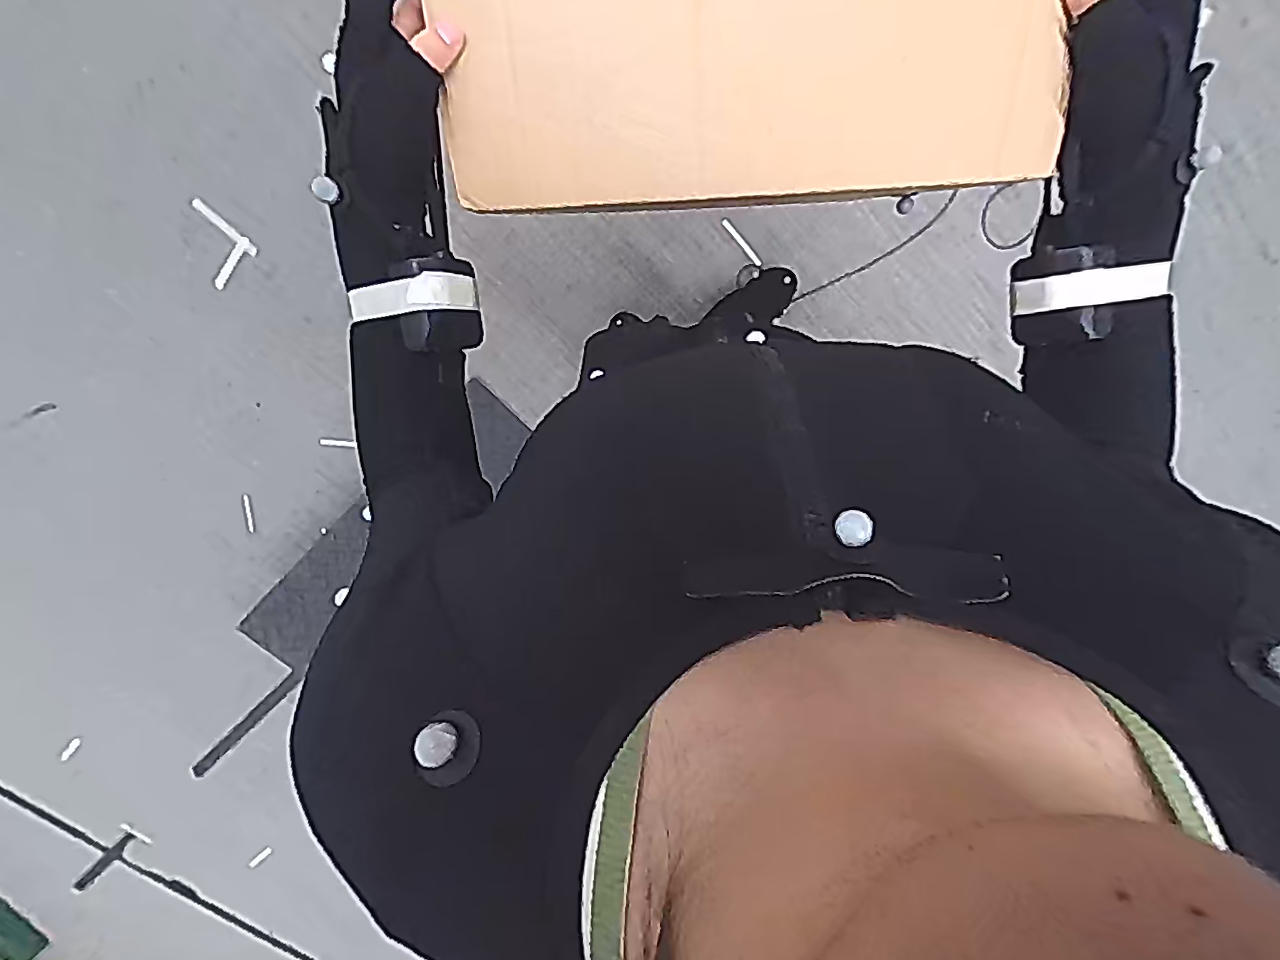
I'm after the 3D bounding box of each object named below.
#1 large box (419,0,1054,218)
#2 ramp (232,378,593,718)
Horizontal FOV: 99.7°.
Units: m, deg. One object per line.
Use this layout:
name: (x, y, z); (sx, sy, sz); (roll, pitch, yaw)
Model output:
large box: (0.057, -0.404, 0.448); (0.408, 0.320, 0.320); (-3, 115, 0)
ramp: (-0.652, 0.222, 1.558); (0.509, 0.206, 0.991); (43, 106, -13)
